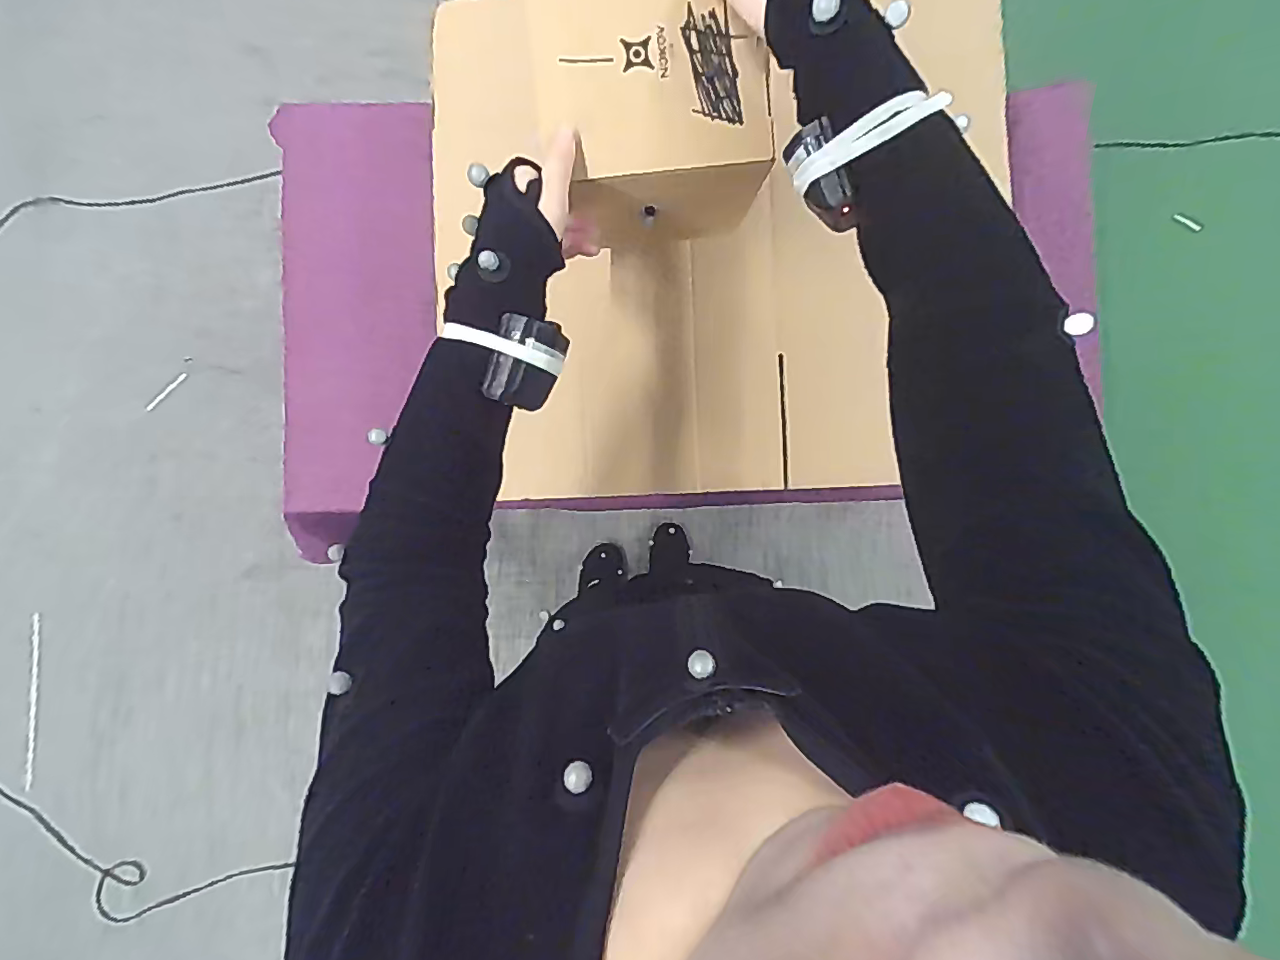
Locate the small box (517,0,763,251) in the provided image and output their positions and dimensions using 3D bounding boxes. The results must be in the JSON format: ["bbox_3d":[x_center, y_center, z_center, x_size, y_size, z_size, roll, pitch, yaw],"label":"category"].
[{"bbox_3d":[0.001,-0.320,0.483,0.179,0.176,0.168,-6,96,2],"label":"small box"}]
